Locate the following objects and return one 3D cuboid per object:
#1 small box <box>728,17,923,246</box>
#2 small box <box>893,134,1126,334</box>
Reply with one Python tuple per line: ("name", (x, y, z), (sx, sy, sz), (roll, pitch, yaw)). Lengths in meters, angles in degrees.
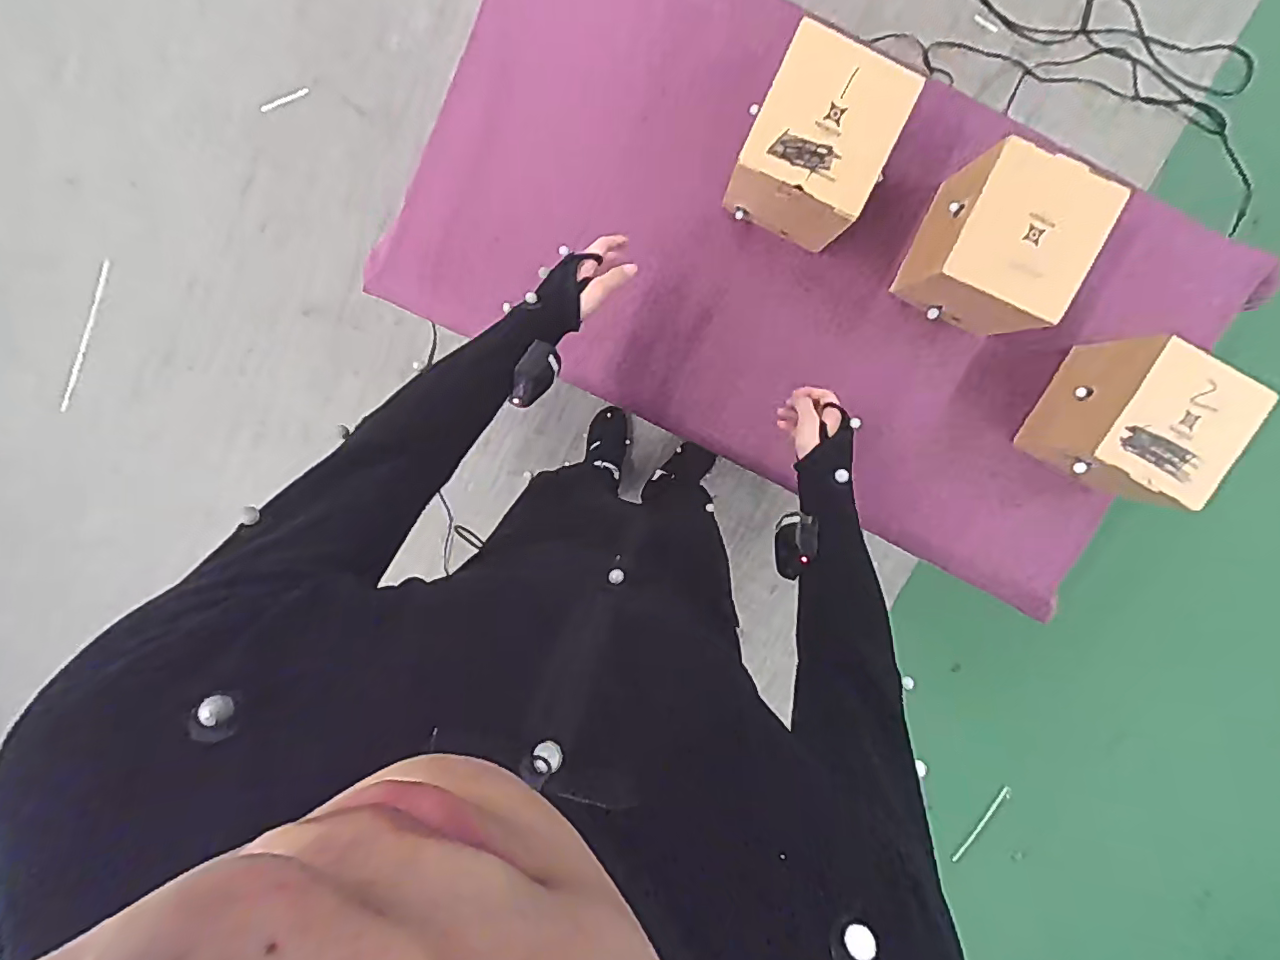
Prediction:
("small box", (0.230, -0.444, 0.727), (0.168, 0.176, 0.179), (25, 98, -3))
("small box", (0.486, -0.320, 0.745), (0.168, 0.176, 0.179), (25, 100, -2))
